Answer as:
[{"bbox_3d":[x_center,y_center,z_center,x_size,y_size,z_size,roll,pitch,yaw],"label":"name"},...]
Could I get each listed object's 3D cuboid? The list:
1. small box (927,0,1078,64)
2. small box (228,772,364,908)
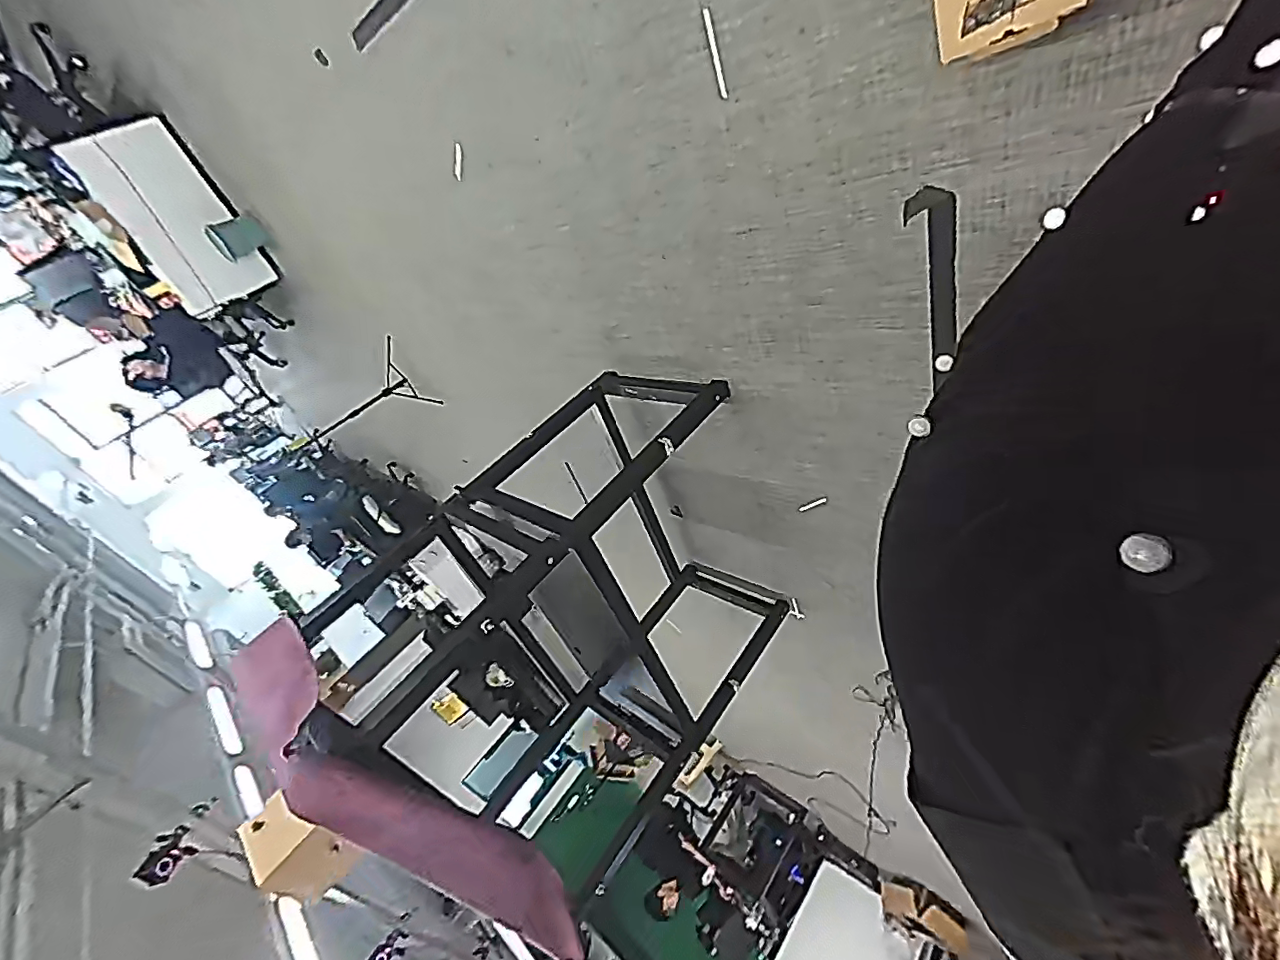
[{"bbox_3d":[0.488,-0.693,0.701,0.168,0.176,0.179,9,135,46],"label":"small box"},{"bbox_3d":[-0.748,0.777,1.189,0.179,0.176,0.168,18,143,40],"label":"small box"}]
